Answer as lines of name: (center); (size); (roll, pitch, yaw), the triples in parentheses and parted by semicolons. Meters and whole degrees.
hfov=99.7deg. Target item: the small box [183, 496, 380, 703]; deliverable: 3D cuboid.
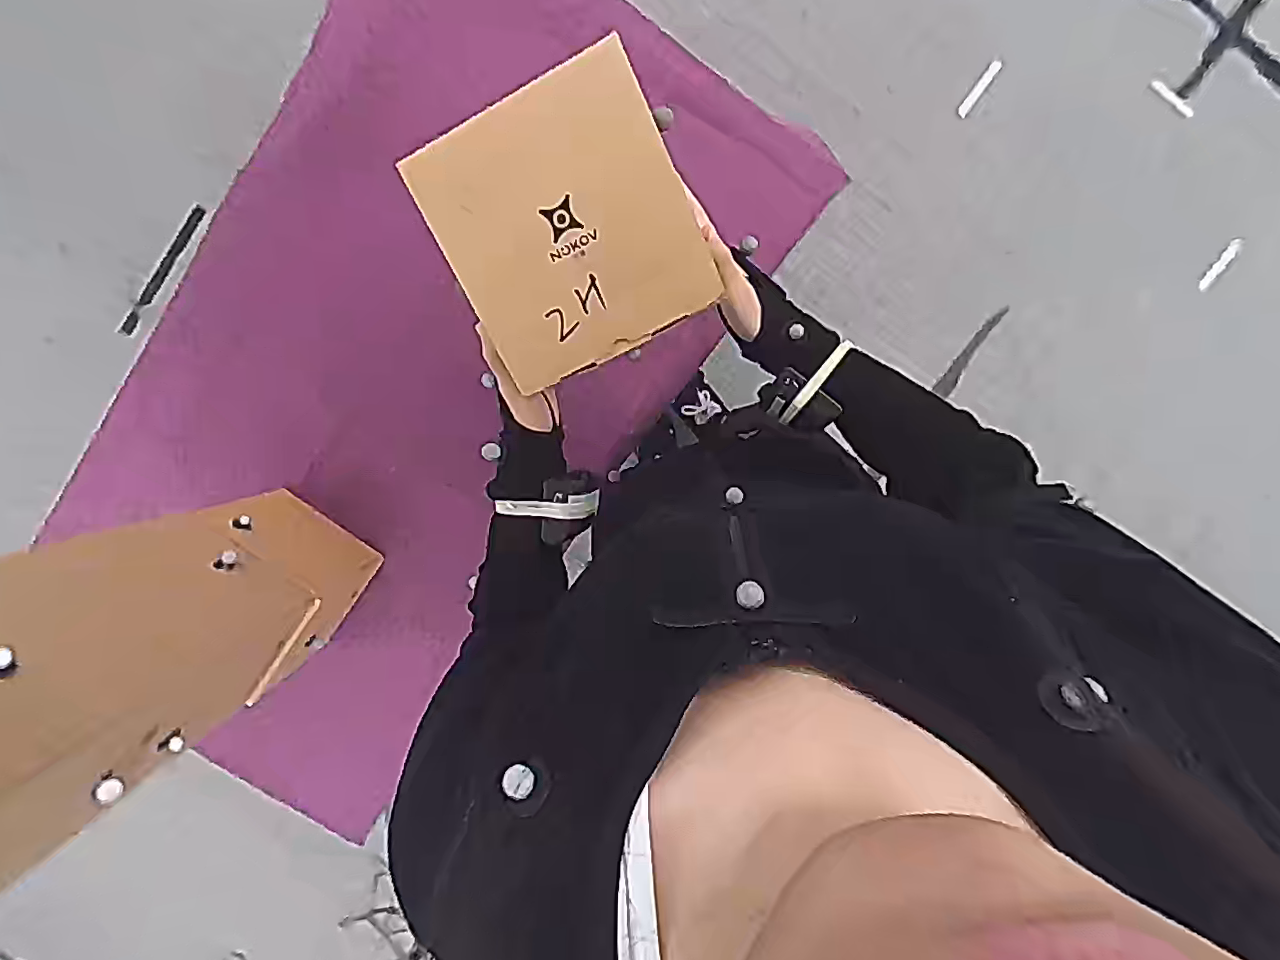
small box: (-0.480, 0.139, 0.700); (0.179, 0.176, 0.168); (36, 97, -5)

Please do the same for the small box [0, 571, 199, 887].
small box: (-0.479, 0.183, 0.374); (0.179, 0.176, 0.168); (36, 97, -6)

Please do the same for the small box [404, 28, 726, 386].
small box: (-0.046, -0.194, 0.439); (0.168, 0.176, 0.179); (-24, 104, 9)

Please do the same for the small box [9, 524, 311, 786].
small box: (-0.484, 0.160, 0.537); (0.179, 0.176, 0.168); (35, 97, -5)
